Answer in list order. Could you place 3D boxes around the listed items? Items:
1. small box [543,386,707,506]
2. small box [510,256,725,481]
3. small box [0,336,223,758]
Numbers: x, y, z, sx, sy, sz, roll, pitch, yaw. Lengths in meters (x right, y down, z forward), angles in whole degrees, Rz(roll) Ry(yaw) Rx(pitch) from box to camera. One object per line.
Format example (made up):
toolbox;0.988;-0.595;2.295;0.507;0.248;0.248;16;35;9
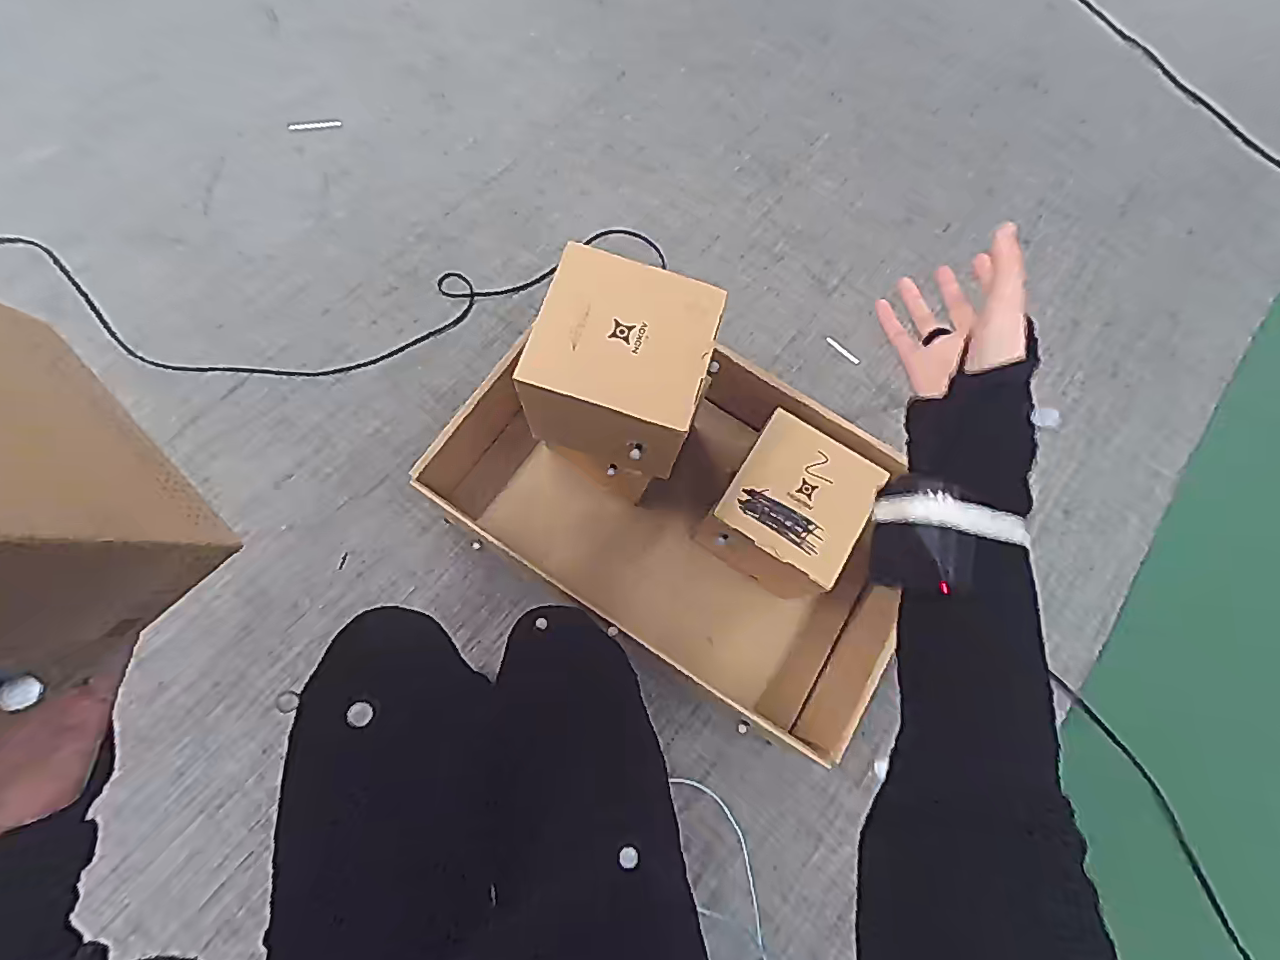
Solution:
small box;-0.034;-0.082;0.770;0.179;0.176;0.168;34;74;4
small box;-0.024;-0.110;0.609;0.179;0.176;0.168;18;74;1
small box;-0.337;0.026;0.217;0.168;0.176;0.179;-42;87;-8
